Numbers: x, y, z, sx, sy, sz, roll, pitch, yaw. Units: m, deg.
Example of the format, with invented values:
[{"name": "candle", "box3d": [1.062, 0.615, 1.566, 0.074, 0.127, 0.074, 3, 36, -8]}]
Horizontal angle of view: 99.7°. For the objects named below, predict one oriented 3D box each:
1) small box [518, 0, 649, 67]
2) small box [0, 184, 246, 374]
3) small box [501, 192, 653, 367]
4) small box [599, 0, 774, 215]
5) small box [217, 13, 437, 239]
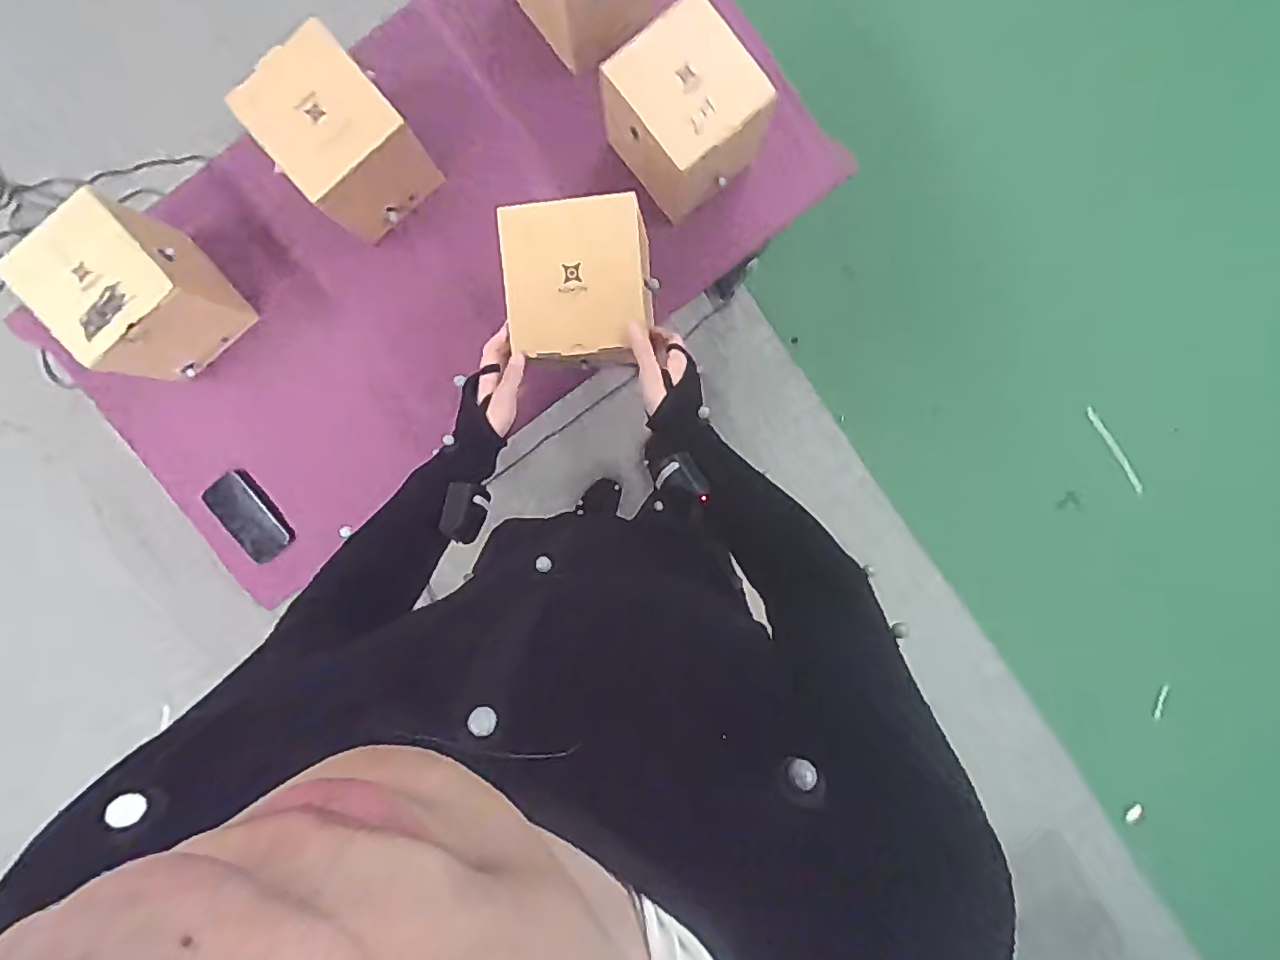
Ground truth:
[{"name": "small box", "box3d": [-0.096, -0.756, 0.769, 0.168, 0.176, 0.179, -39, 93, 2]}, {"name": "small box", "box3d": [-0.731, -0.270, 0.779, 0.168, 0.176, 0.179, -41, 93, 0]}, {"name": "small box", "box3d": [-0.071, -0.246, 0.704, 0.168, 0.176, 0.179, -3, 98, 5]}, {"name": "small box", "box3d": [0.059, -0.531, 0.784, 0.168, 0.176, 0.179, -38, 93, 2]}, {"name": "small box", "box3d": [-0.432, -0.488, 0.777, 0.168, 0.176, 0.179, -40, 94, 2]}]
